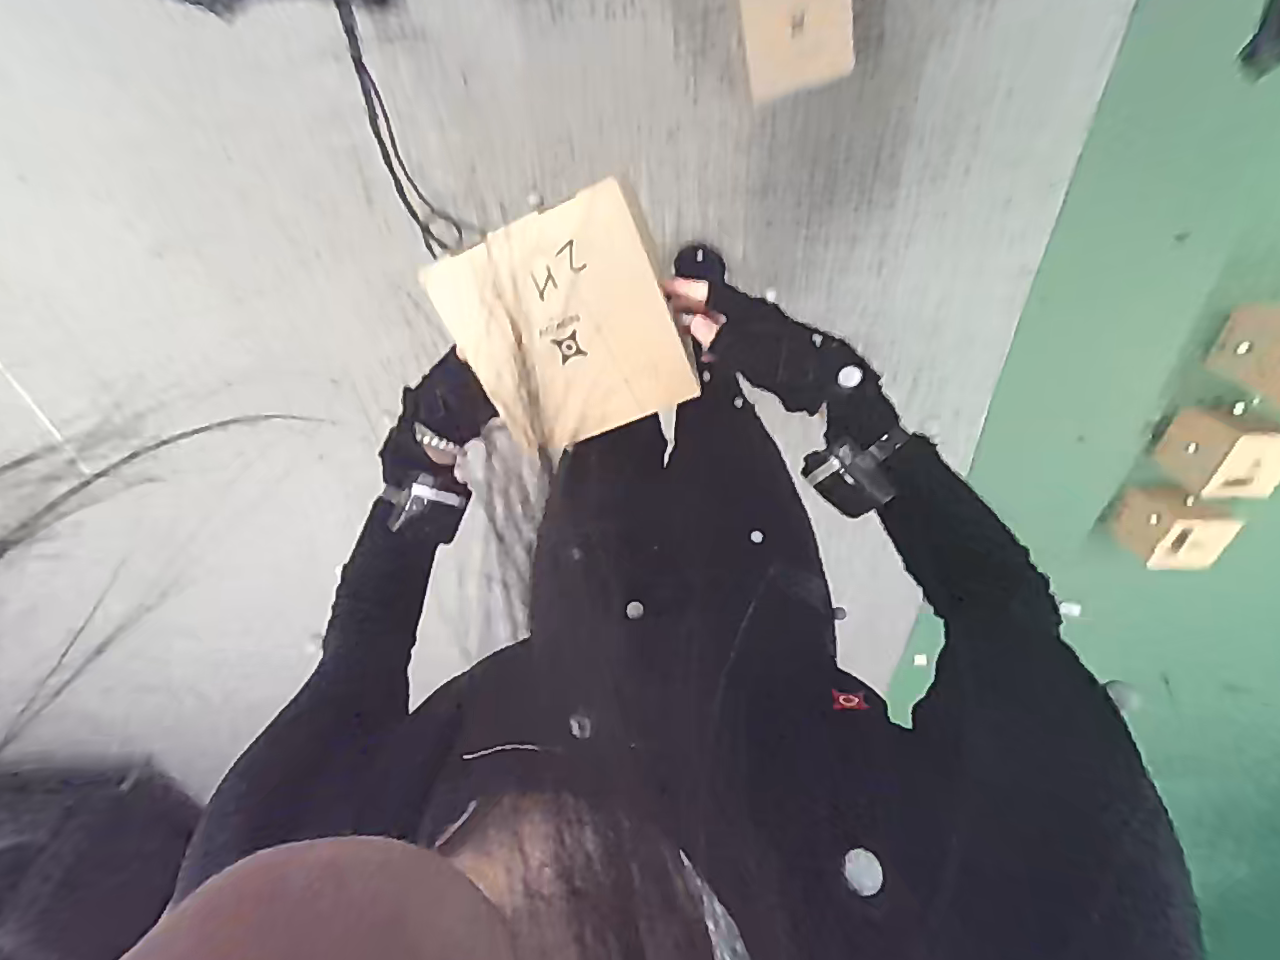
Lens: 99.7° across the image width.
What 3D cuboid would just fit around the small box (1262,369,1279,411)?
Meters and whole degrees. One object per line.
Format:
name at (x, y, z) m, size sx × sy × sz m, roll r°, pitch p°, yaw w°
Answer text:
small box at (1.431, -0.199, 1.074) m, size 0.168 × 0.176 × 0.179 m, roll -4°, pitch 126°, yaw 4°

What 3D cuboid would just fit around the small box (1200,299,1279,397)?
small box at (1.433, -0.297, 1.203) m, size 0.179 × 0.176 × 0.168 m, roll -2°, pitch 126°, yaw 4°

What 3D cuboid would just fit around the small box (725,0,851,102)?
small box at (0.240, -0.752, 0.897) m, size 0.168 × 0.176 × 0.179 m, roll -12°, pitch 124°, yaw 10°
